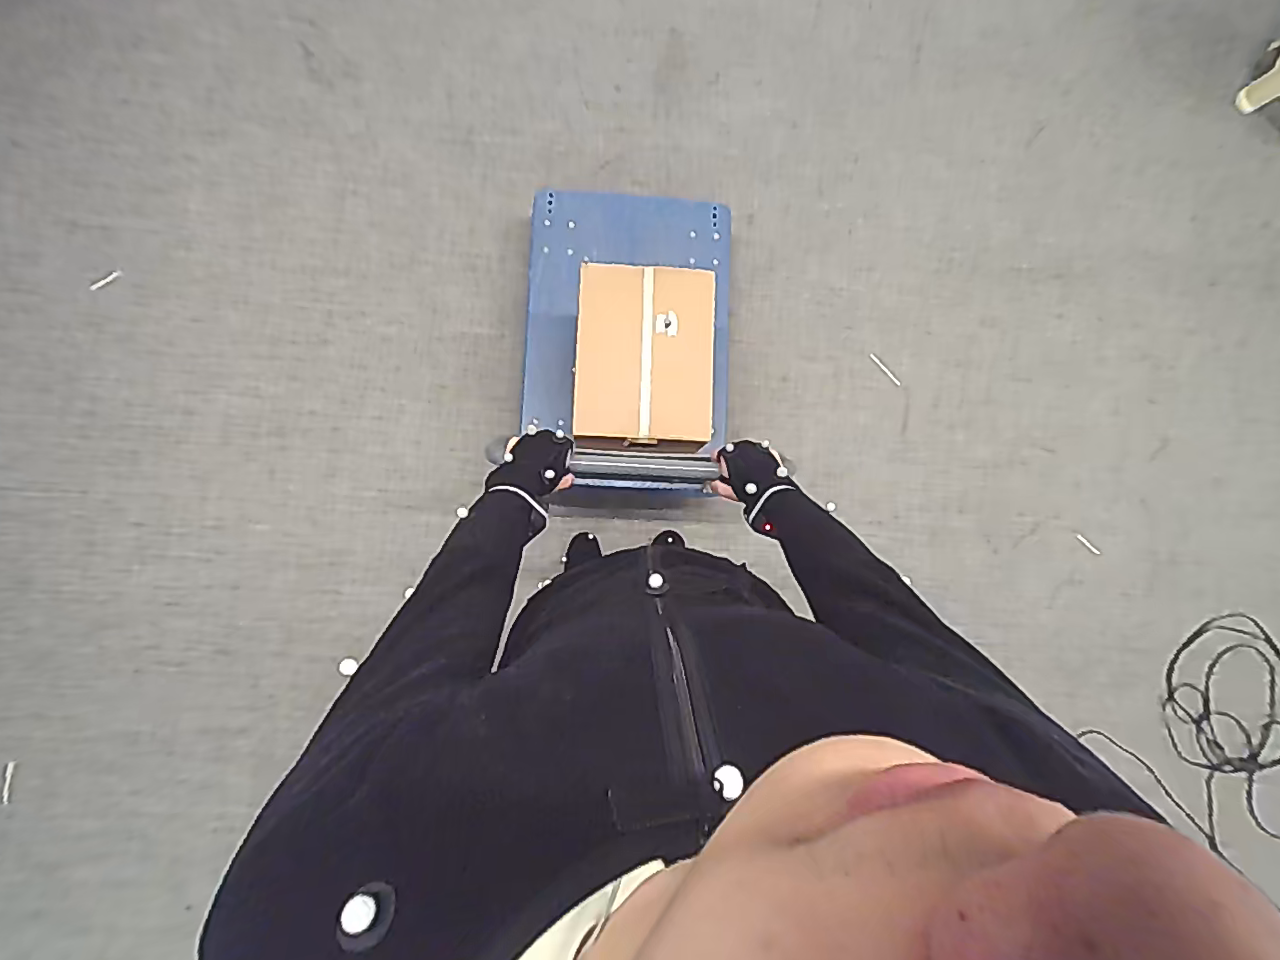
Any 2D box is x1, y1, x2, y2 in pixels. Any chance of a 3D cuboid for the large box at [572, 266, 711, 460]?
[{"bbox_3d":[-0.005,-0.271,1.369,0.320,0.320,0.408,2,83,-5],"label":"large box"}]
